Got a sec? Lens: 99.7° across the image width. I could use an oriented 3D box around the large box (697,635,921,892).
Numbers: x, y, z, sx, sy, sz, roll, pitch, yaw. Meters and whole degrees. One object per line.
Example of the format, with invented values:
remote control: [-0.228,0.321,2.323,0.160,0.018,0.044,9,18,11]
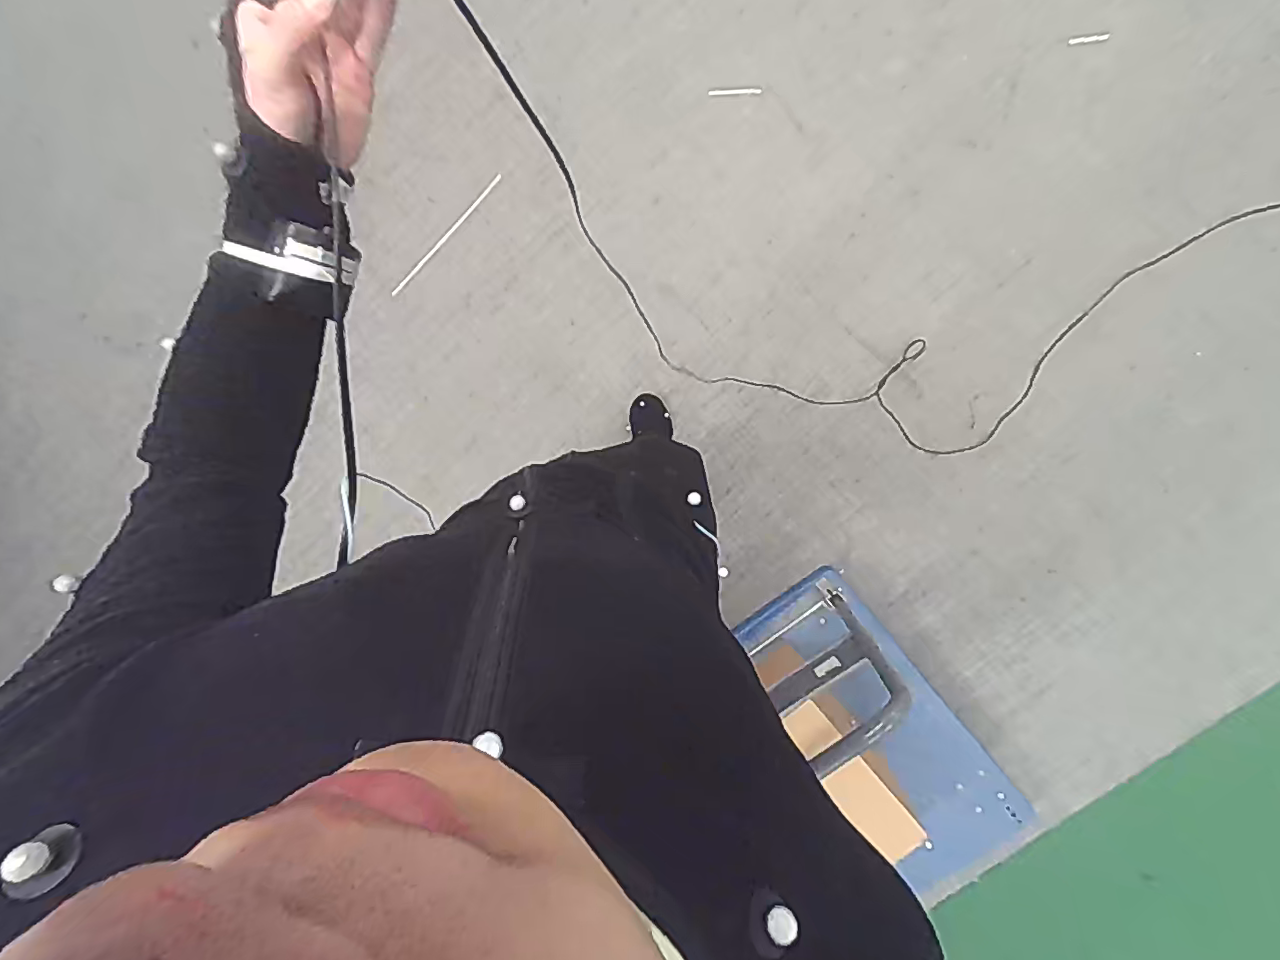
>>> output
large box: [0.385,0.674,1.345,0.320,0.320,0.408,-40,92,9]
